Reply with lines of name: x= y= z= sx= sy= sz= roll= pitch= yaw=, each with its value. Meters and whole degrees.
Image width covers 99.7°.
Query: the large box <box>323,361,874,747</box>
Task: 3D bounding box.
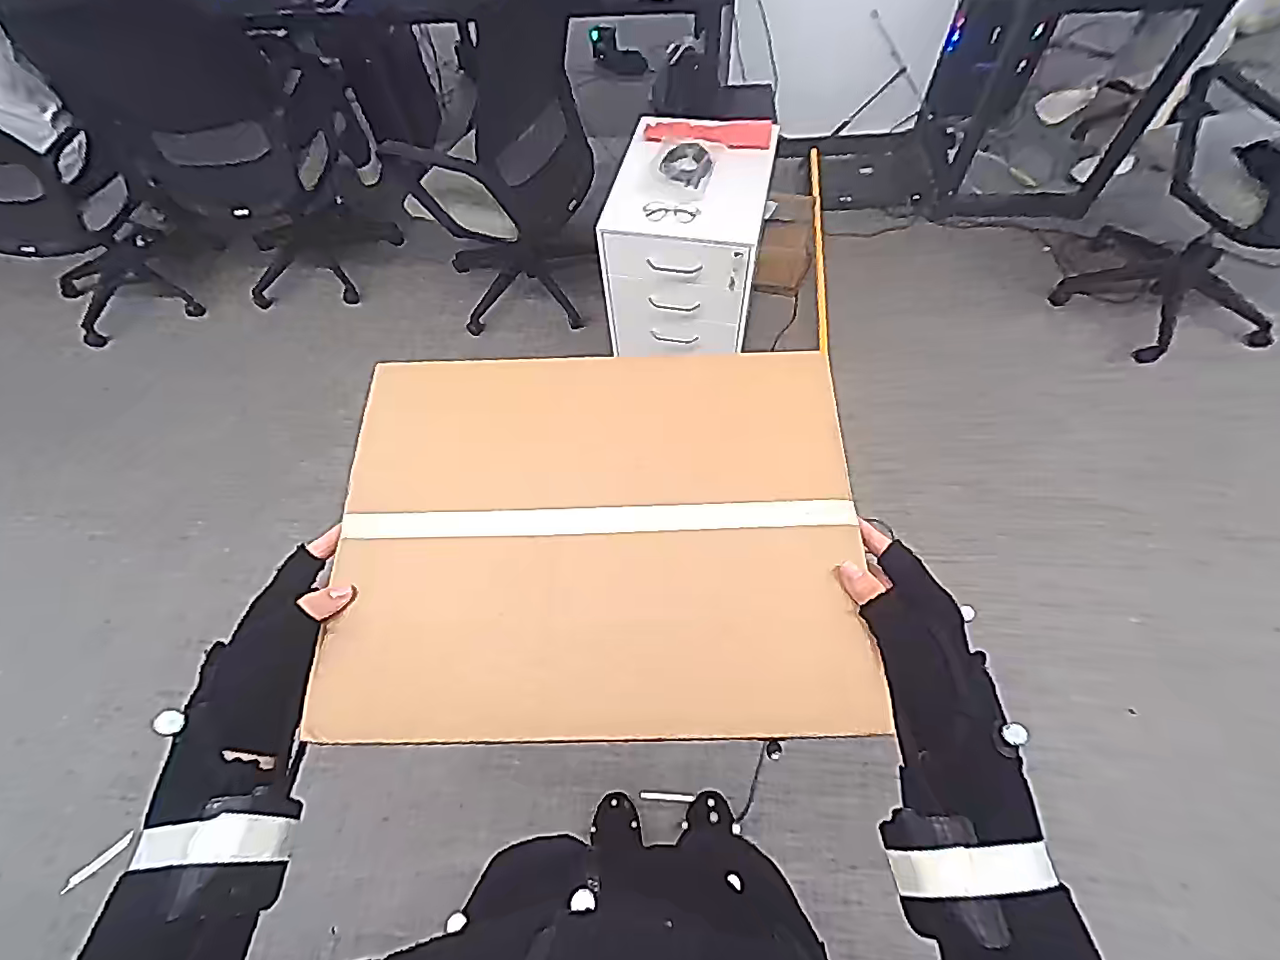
large box: x=-0.030 y=0.097 z=0.578 sx=0.408 sy=0.320 sz=0.320 roll=-2 pitch=66 yaw=1
